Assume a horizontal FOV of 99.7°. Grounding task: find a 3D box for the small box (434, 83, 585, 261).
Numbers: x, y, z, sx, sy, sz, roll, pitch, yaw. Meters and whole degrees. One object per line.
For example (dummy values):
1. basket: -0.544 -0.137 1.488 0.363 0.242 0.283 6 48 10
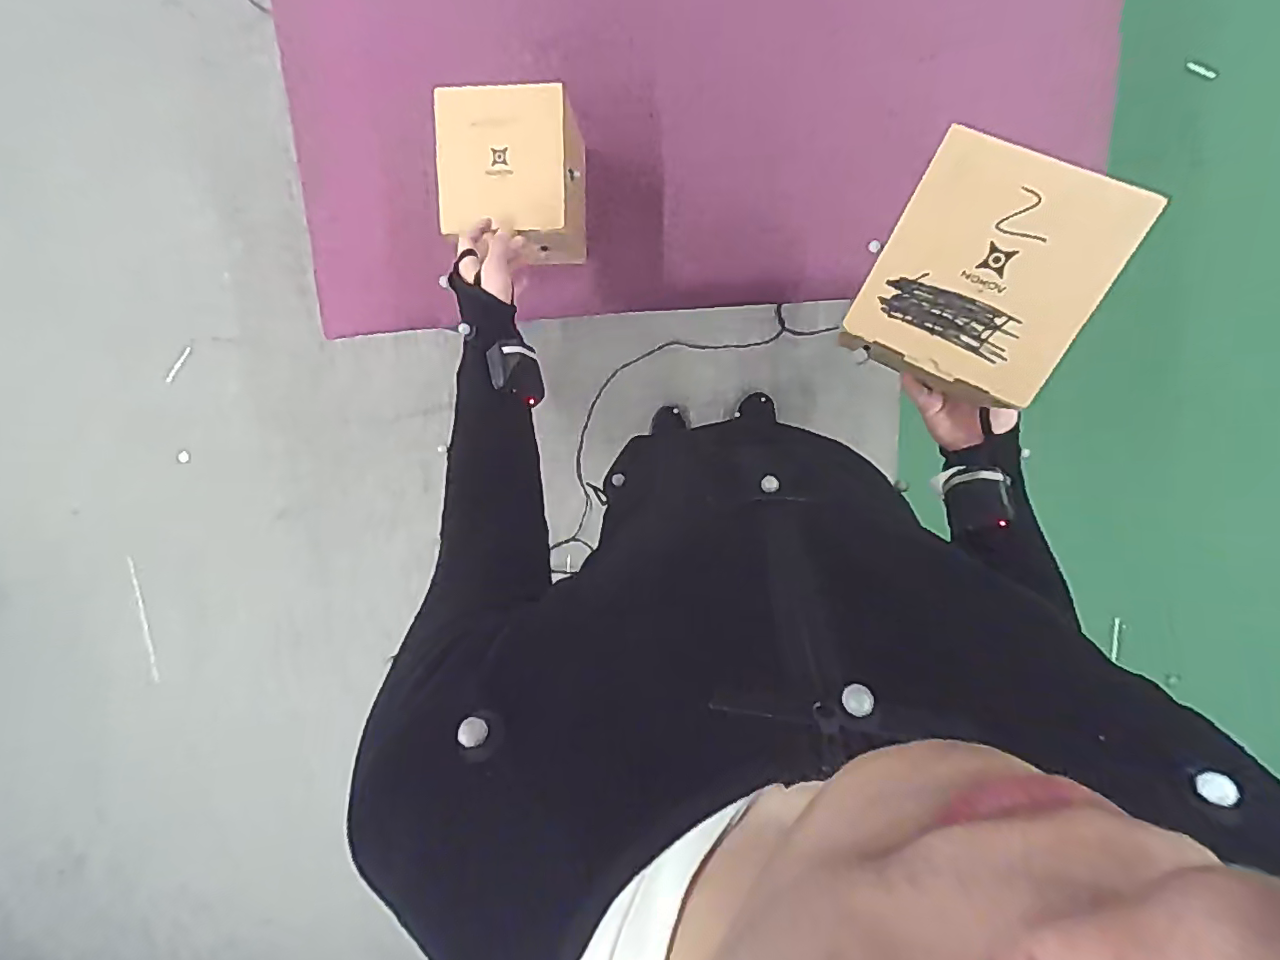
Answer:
1. small box: -0.173 -0.417 0.762 0.168 0.176 0.179 2 98 4
